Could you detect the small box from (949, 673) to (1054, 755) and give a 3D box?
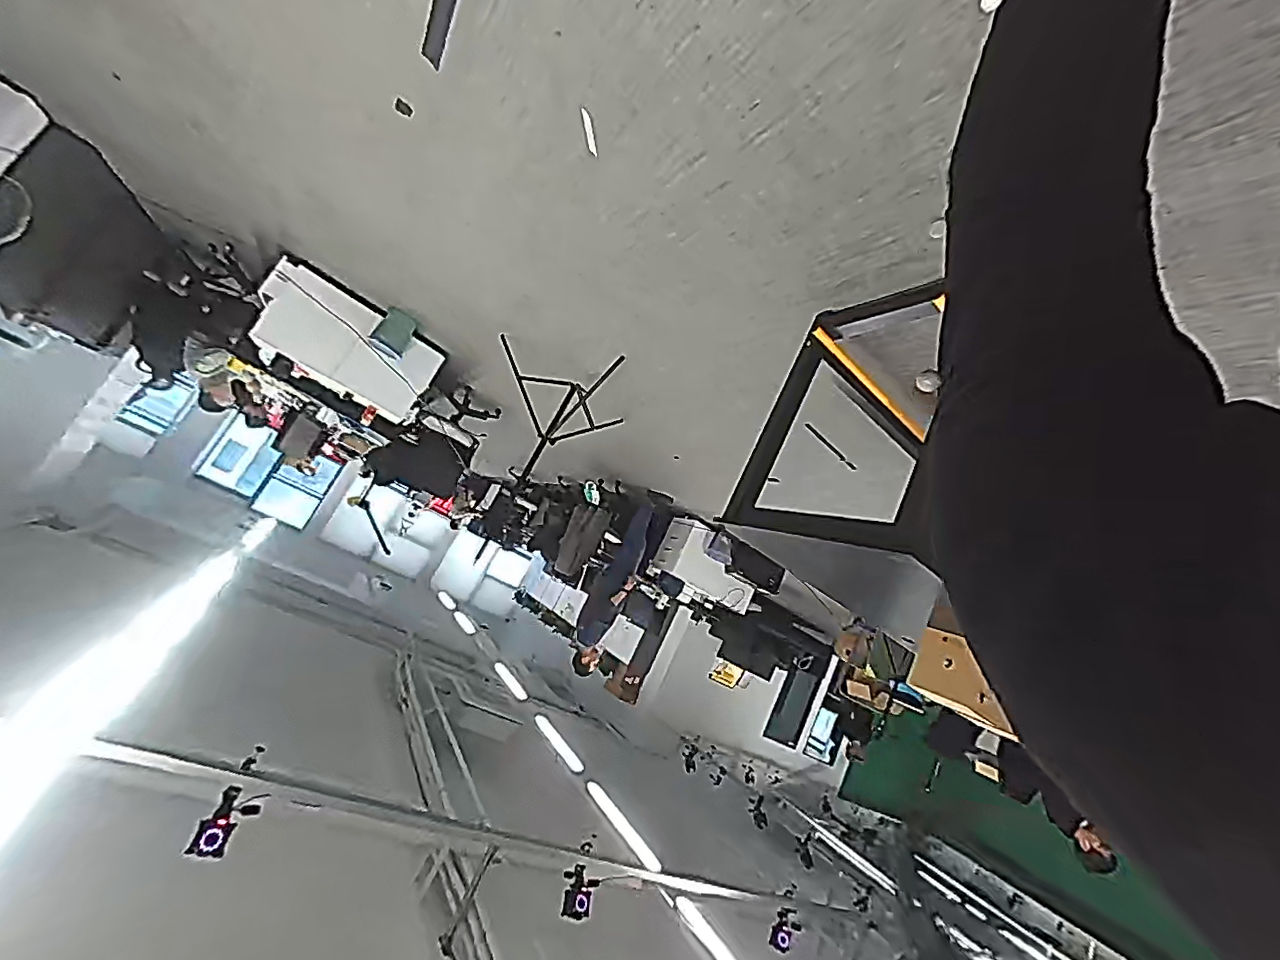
[{"bbox_3d":[1.009,0.629,1.511,0.168,0.176,0.179,32,166,-26],"label":"small box"}]

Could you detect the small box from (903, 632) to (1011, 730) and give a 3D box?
[{"bbox_3d":[0.837,0.523,1.425,0.179,0.176,0.168,33,167,-28],"label":"small box"}]
